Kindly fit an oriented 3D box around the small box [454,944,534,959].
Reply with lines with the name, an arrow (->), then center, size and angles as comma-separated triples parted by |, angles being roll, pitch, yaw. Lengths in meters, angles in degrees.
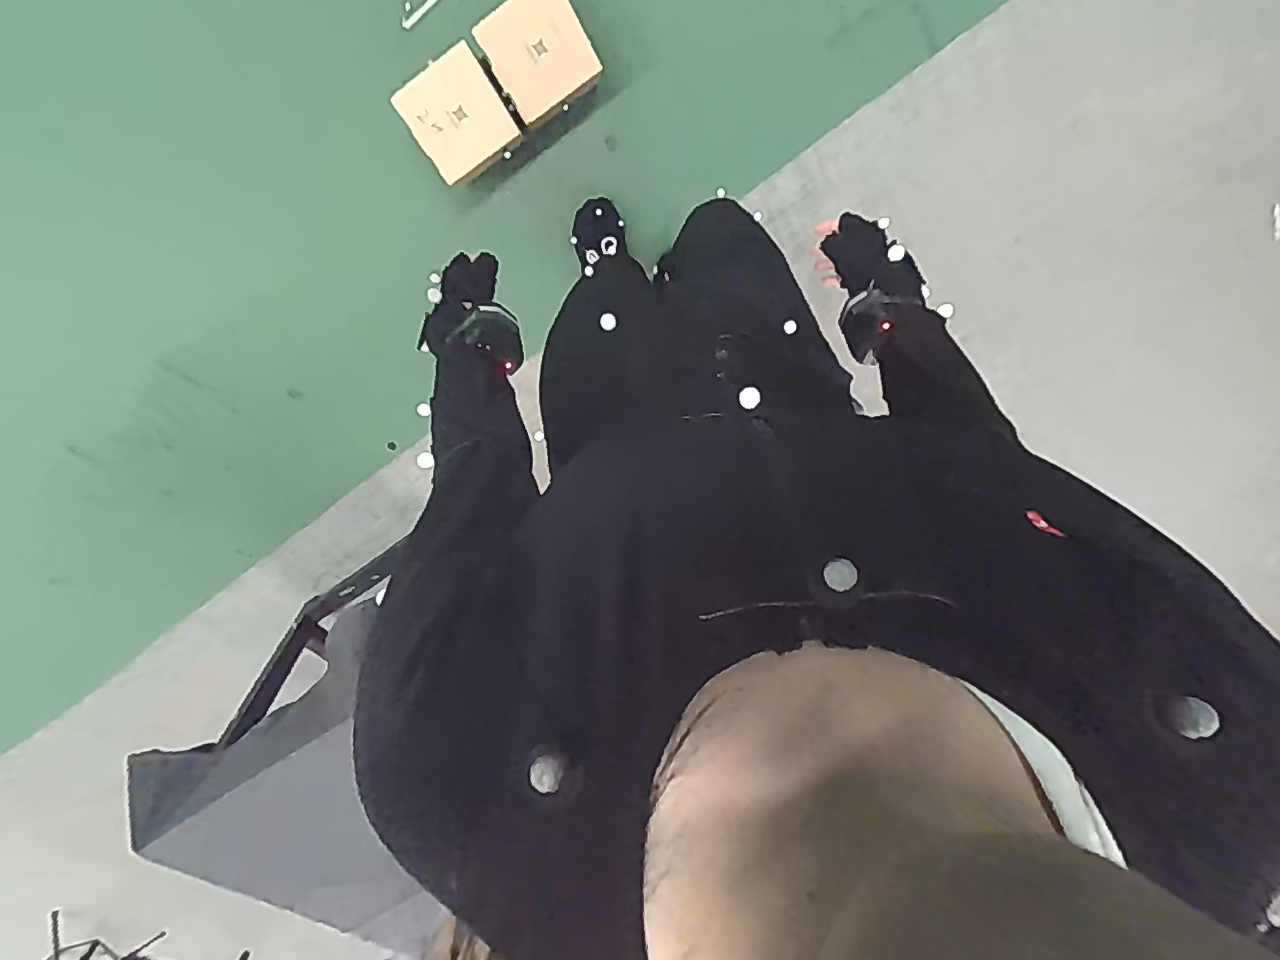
small box -> -0.299, 1.038, 1.039 | 0.168, 0.176, 0.179 | -34, 117, 12
